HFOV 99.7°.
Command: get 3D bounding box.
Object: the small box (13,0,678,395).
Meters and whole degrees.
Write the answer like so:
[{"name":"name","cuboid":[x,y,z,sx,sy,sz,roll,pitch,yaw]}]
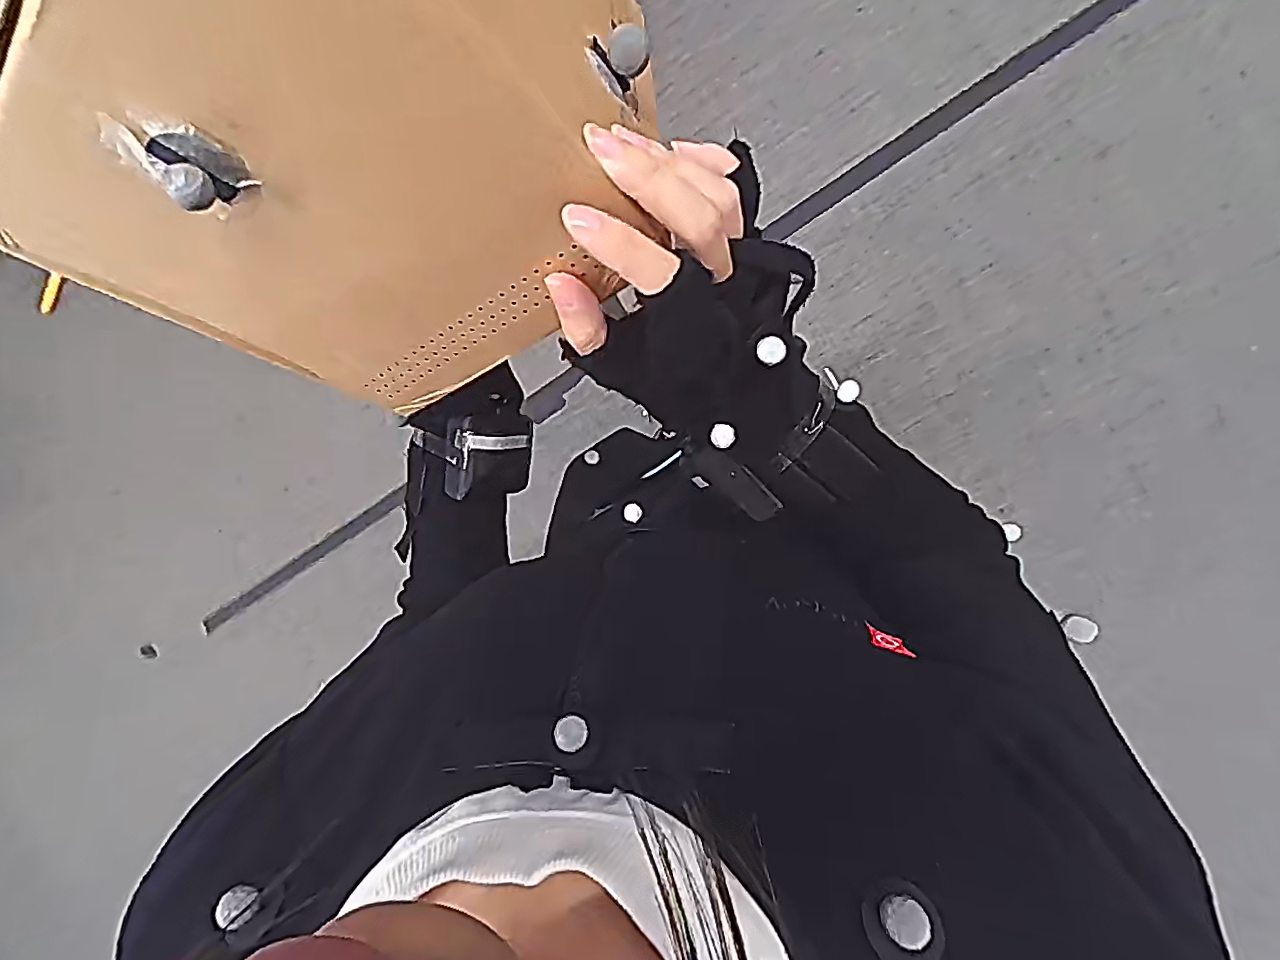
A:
[{"name":"small box","cuboid":[-0.104,-0.161,0.238,0.179,0.176,0.168,-19,64,29]}]
